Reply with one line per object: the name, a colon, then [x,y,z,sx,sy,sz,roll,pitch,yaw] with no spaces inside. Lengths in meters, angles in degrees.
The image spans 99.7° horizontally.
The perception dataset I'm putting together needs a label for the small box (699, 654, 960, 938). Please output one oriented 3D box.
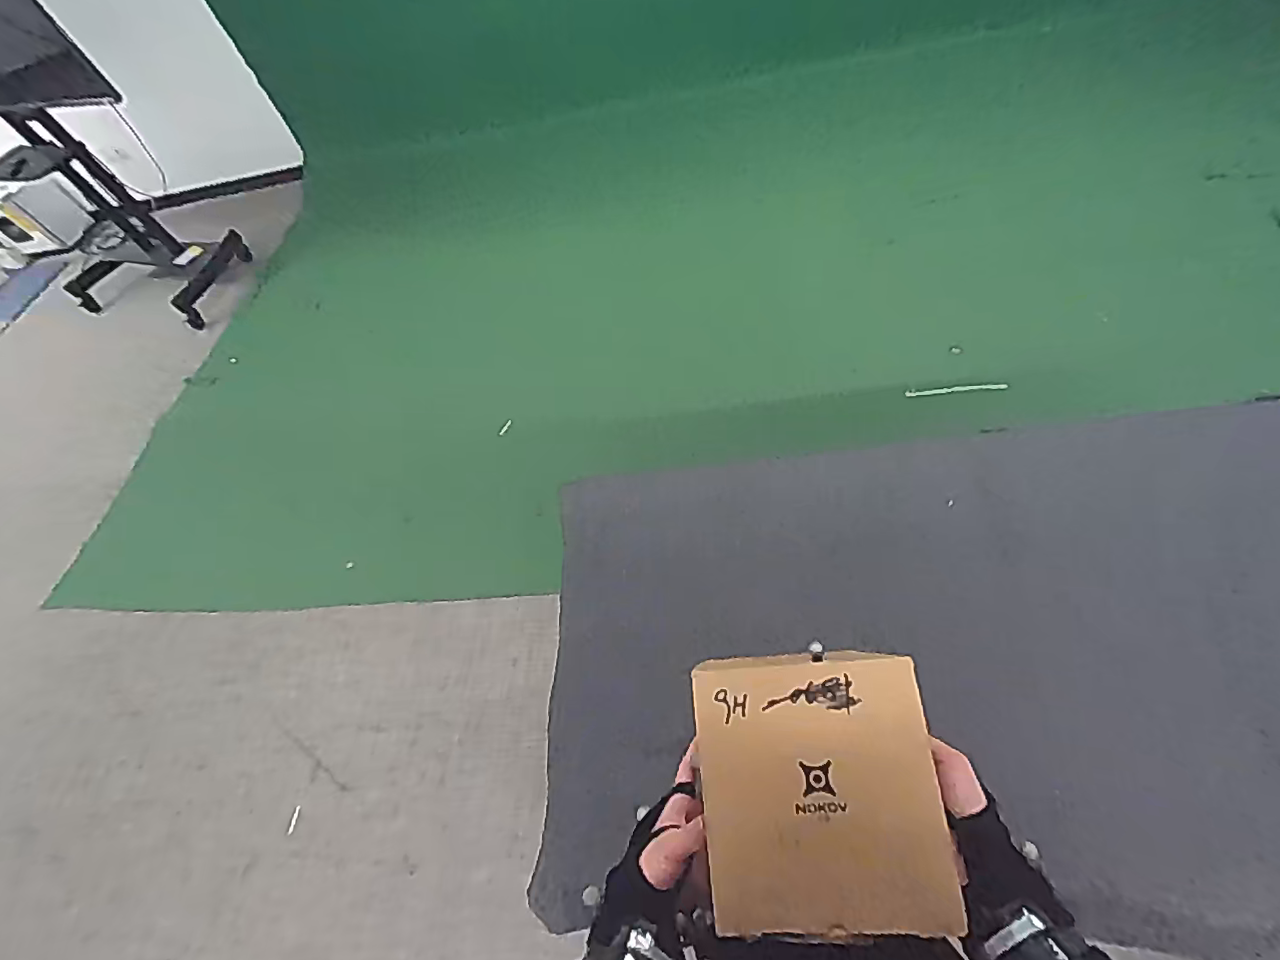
small box: [0.144,0.253,0.473,0.168,0.176,0.179,-6,74,6]
